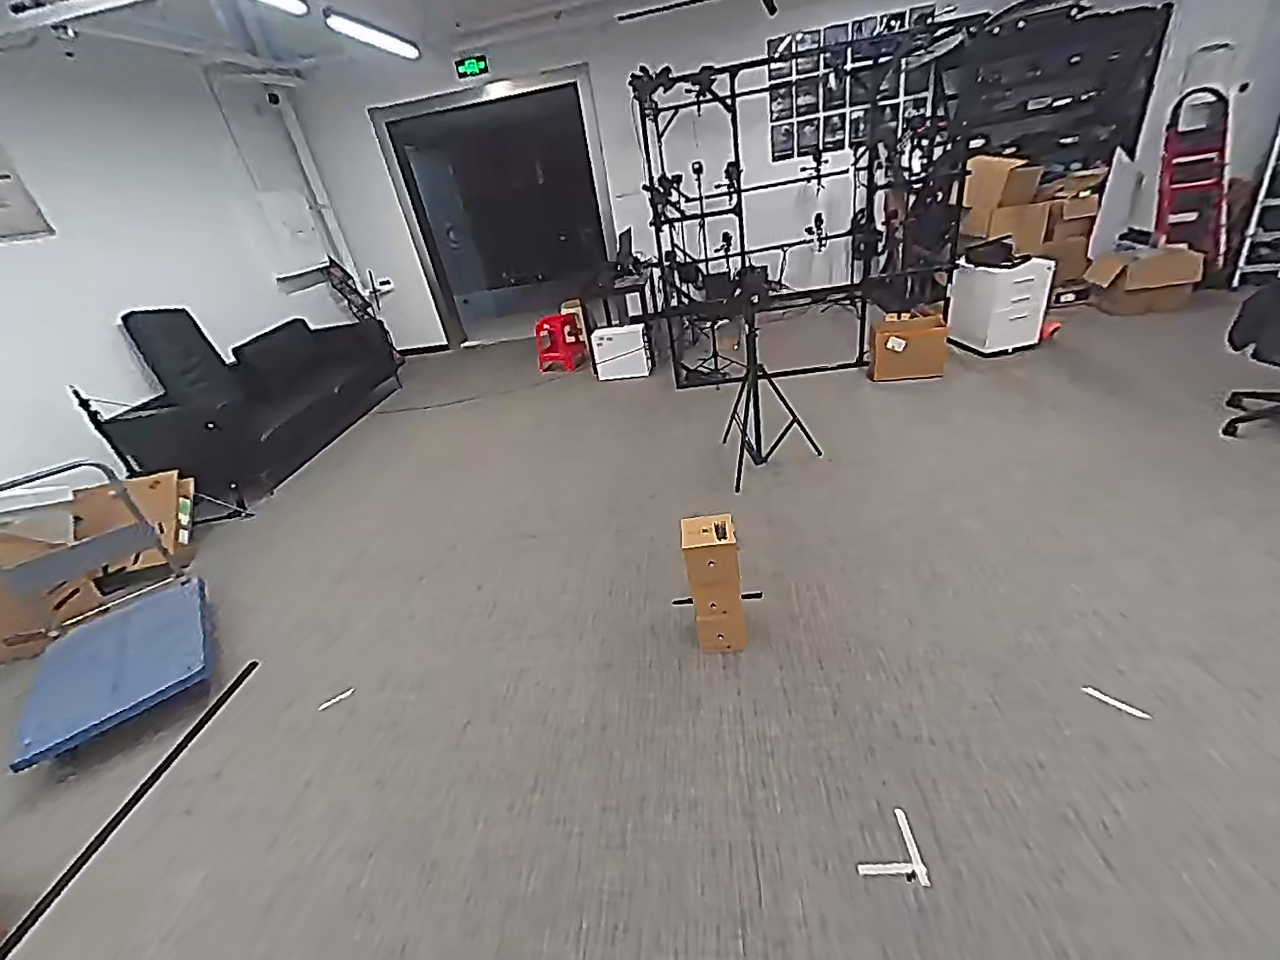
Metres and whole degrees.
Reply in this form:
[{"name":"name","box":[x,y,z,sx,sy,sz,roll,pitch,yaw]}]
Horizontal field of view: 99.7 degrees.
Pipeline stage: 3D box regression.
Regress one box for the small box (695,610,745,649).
[{"name":"small box","box":[0.293,0.509,2.006,0.168,0.176,0.179,-7,29,6]}]

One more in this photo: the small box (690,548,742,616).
[{"name":"small box","box":[0.271,0.365,1.934,0.168,0.176,0.179,-6,30,9]}]
